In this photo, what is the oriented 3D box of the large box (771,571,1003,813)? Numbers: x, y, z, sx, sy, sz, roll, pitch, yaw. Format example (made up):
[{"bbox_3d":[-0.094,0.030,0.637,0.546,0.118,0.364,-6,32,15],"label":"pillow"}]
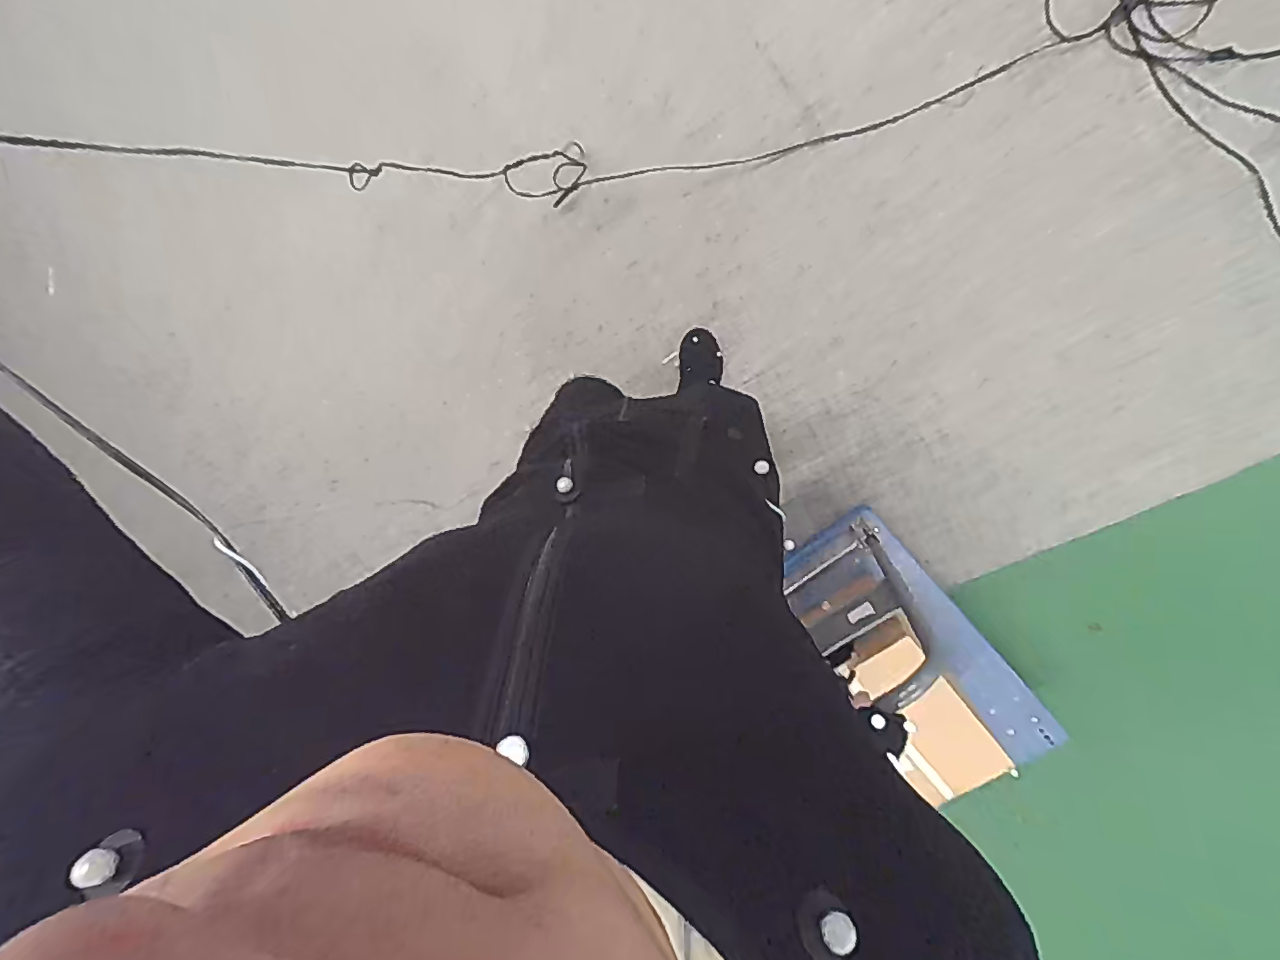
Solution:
[{"bbox_3d":[0.584,0.512,1.355,0.320,0.320,0.408,-38,98,18],"label":"large box"}]
